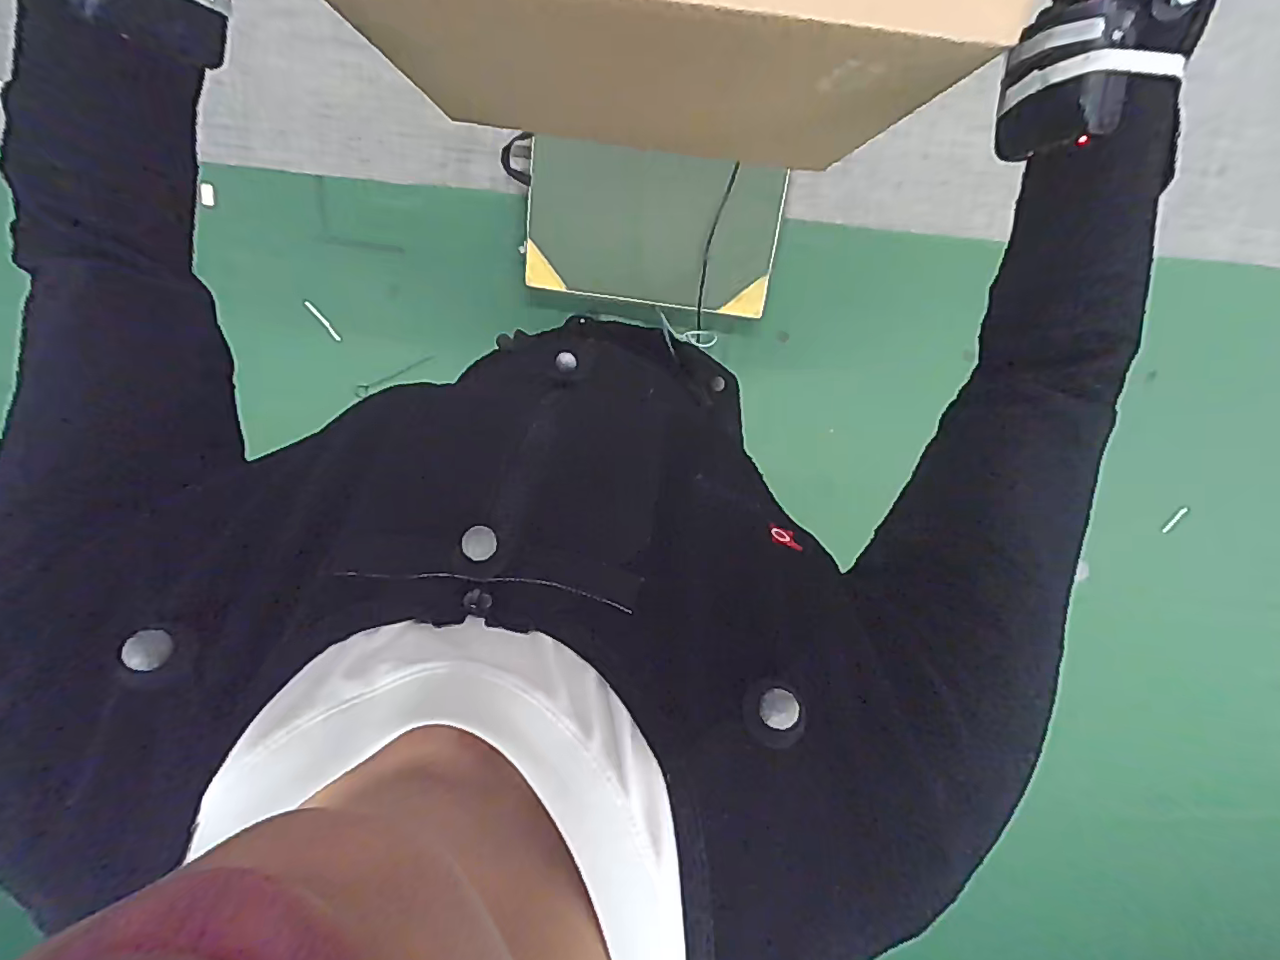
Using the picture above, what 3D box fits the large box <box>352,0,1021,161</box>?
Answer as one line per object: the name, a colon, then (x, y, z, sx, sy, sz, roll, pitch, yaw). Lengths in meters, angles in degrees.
large box: (0.021, -0.456, 0.387, 0.408, 0.320, 0.320, 5, 109, -4)
